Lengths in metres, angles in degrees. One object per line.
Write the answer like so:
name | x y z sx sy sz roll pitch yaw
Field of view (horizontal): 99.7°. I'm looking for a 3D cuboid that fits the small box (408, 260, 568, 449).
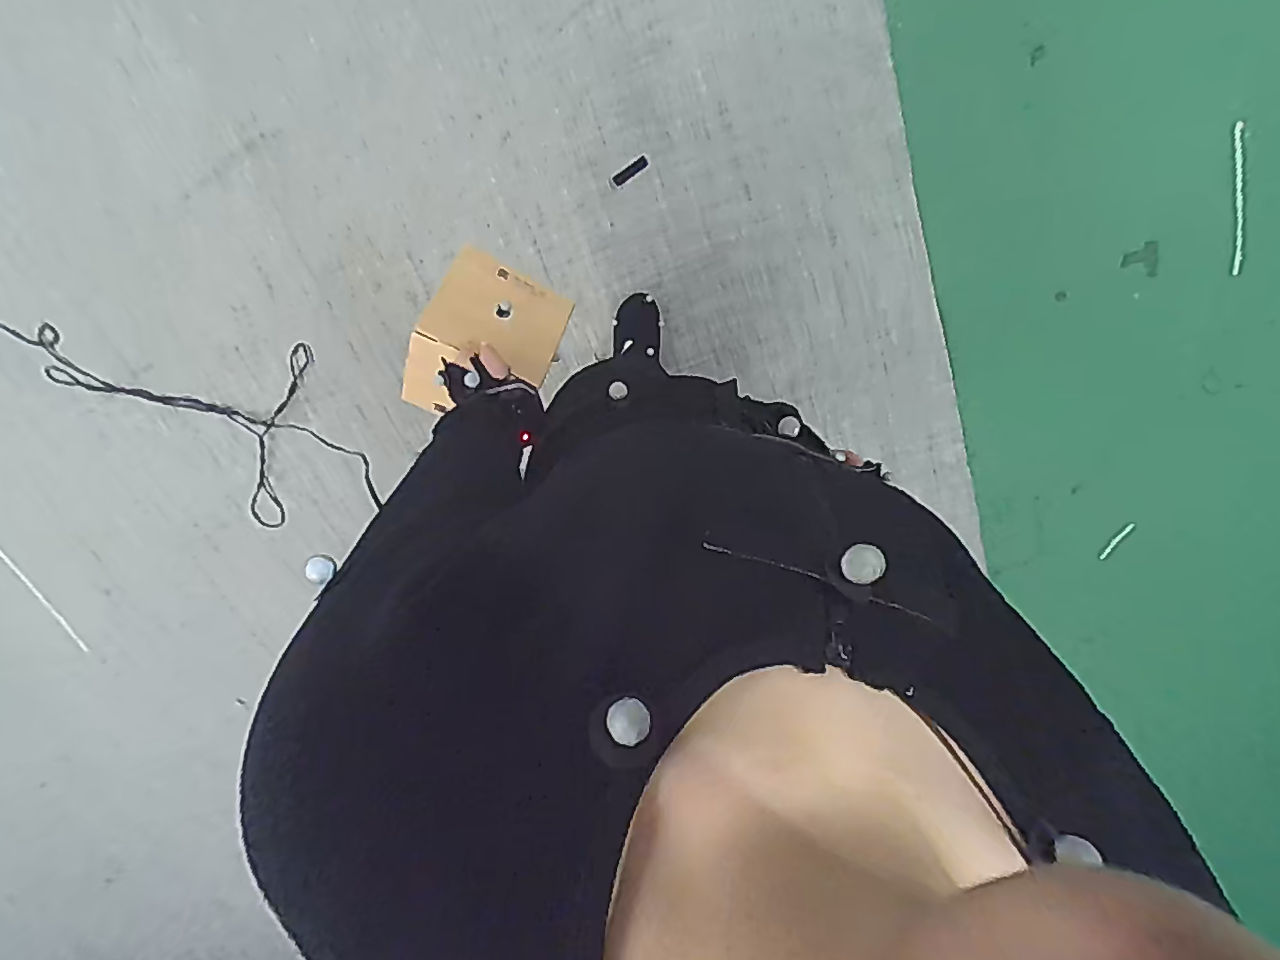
small box | -0.217 -0.178 0.783 0.168 0.176 0.179 22 149 -16
